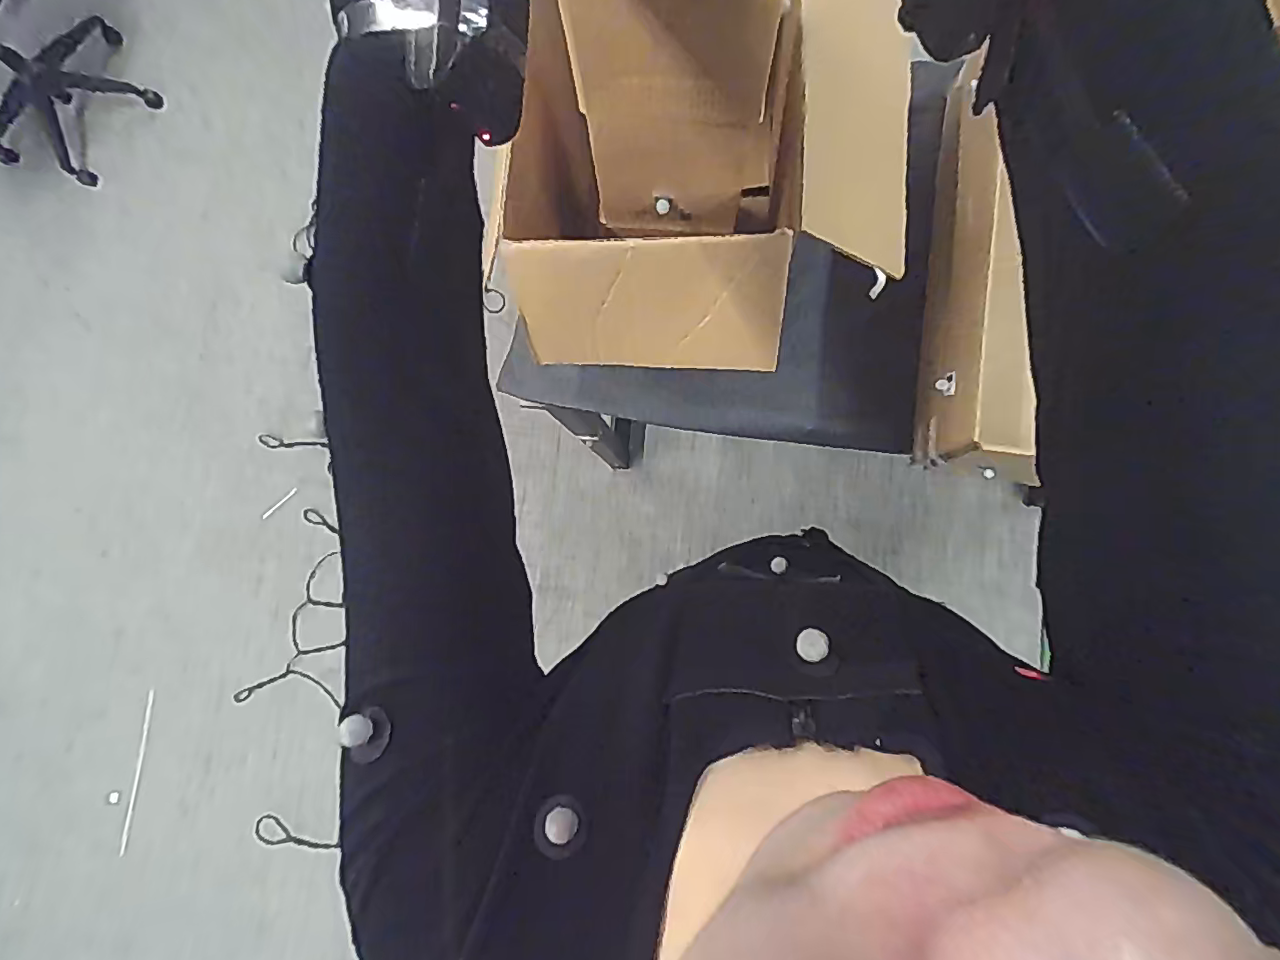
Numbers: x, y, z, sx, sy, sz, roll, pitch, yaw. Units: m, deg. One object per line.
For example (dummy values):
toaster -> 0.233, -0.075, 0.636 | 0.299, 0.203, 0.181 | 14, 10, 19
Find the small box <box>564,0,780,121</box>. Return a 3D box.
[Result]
small box -> 0.031, -0.436, 0.447 | 0.179, 0.176, 0.168 | 7, 82, 4
